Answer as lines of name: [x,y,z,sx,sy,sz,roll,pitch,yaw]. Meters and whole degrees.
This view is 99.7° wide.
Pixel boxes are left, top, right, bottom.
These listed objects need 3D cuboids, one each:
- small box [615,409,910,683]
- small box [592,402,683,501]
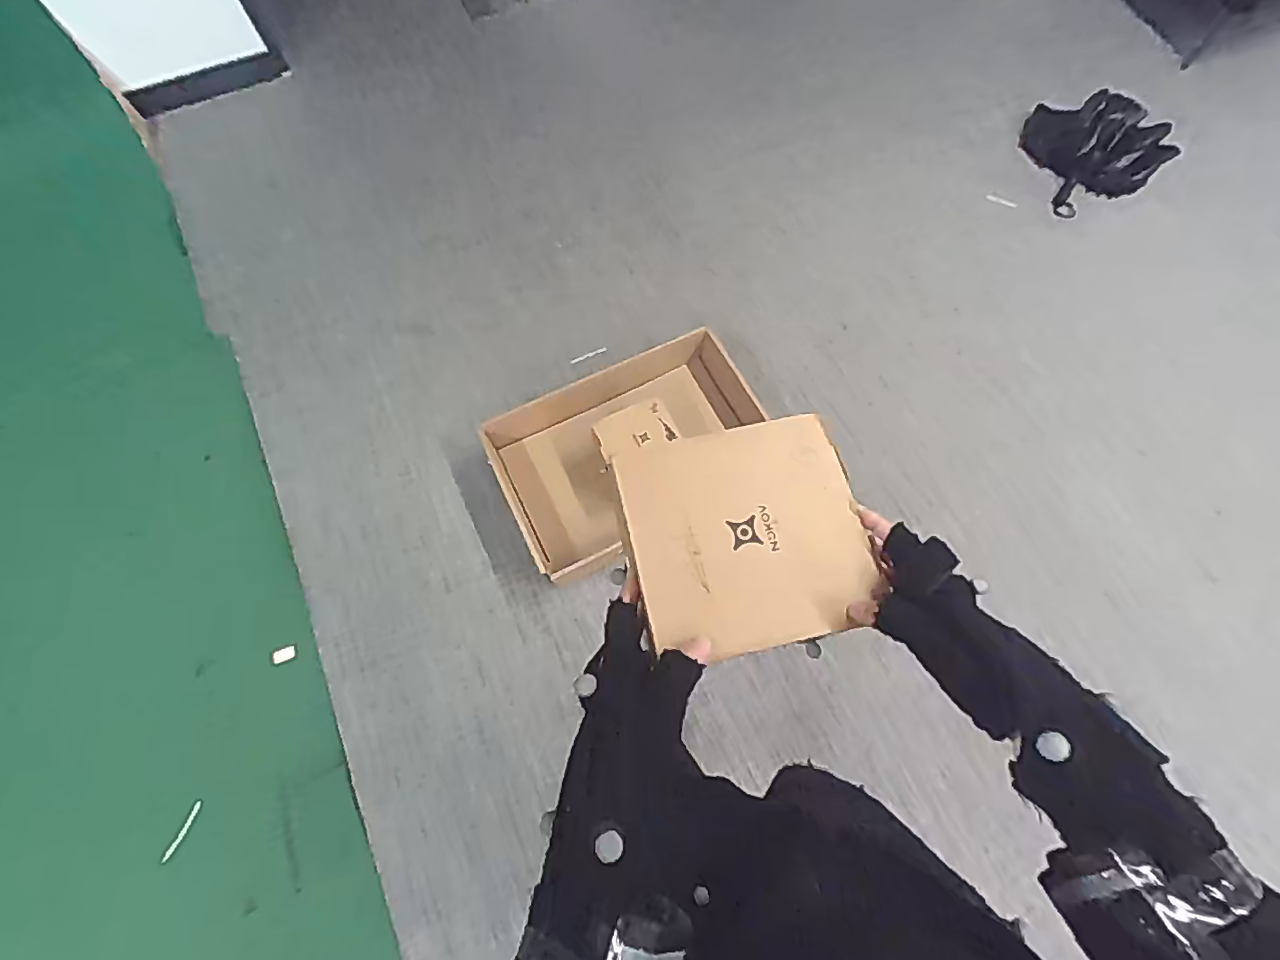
small box: [0.082,0.064,0.466,0.179,0.176,0.168,-16,71,-8]
small box: [0.005,-0.050,1.292,0.179,0.176,0.168,-27,72,-10]
